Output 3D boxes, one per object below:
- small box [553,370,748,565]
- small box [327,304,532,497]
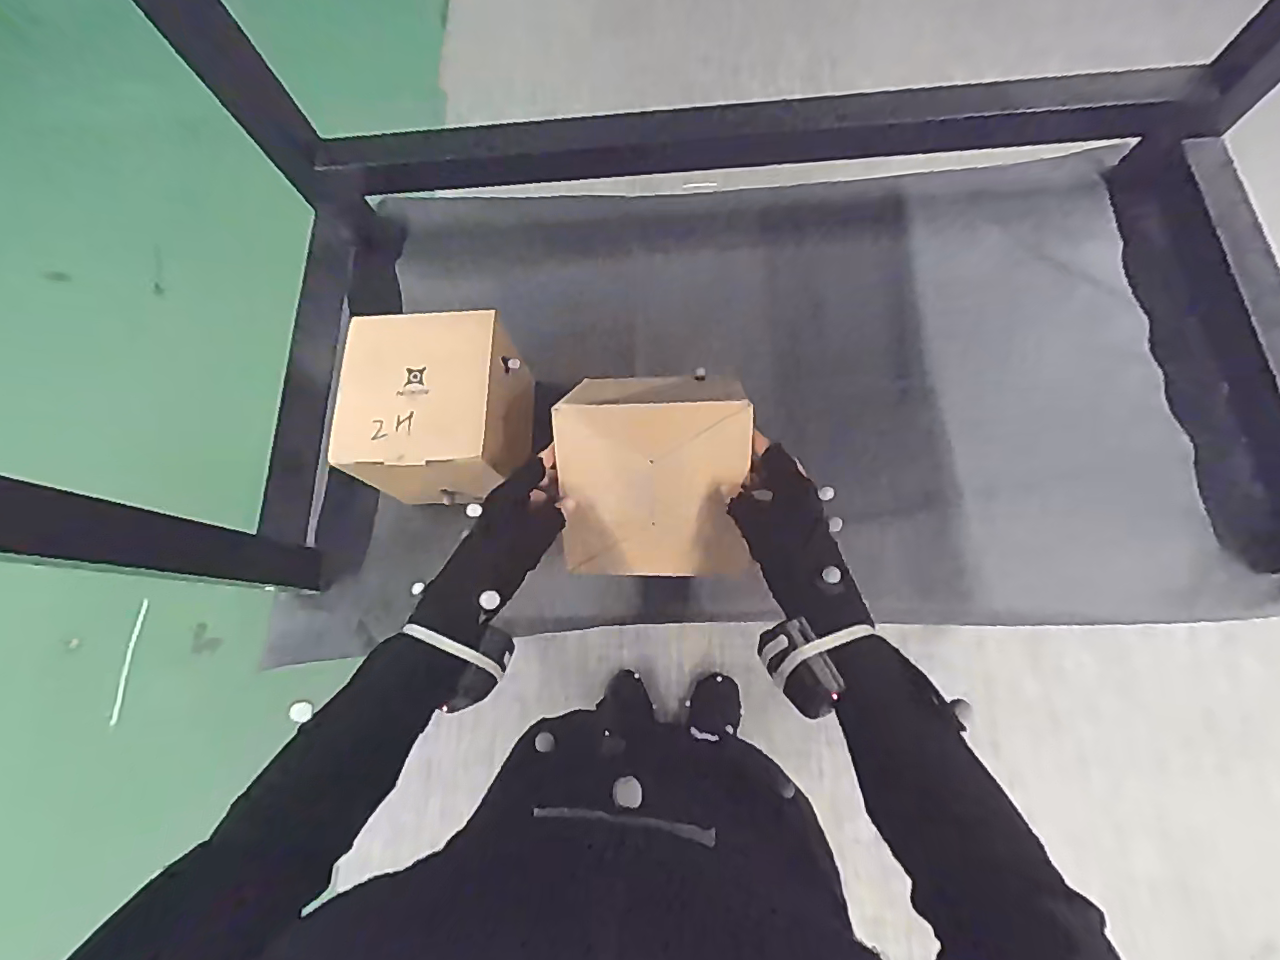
[{"bbox_3d":[0.014,-0.021,0.566,0.179,0.176,0.168,-1,108,5],"label":"small box"},{"bbox_3d":[-0.233,-0.086,0.648,0.168,0.176,0.179,-2,73,5],"label":"small box"}]
